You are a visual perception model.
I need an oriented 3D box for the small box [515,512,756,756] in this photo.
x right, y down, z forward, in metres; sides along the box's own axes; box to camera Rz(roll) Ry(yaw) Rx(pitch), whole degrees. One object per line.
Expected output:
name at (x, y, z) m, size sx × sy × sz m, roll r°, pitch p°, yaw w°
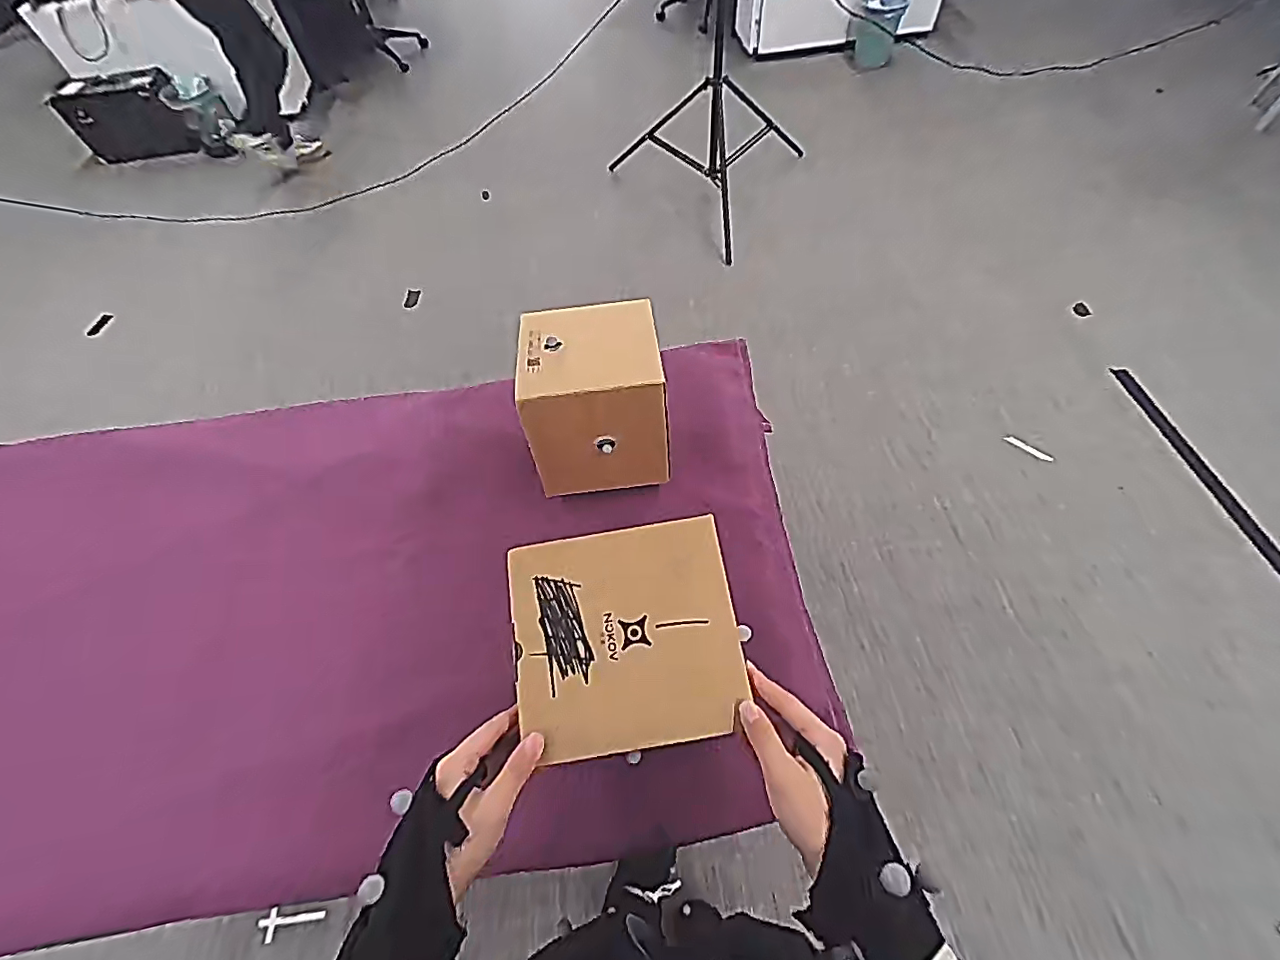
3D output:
small box at (0.000, 0.145, 0.495) m, size 0.179 × 0.176 × 0.168 m, roll -11°, pitch 68°, yaw 3°
